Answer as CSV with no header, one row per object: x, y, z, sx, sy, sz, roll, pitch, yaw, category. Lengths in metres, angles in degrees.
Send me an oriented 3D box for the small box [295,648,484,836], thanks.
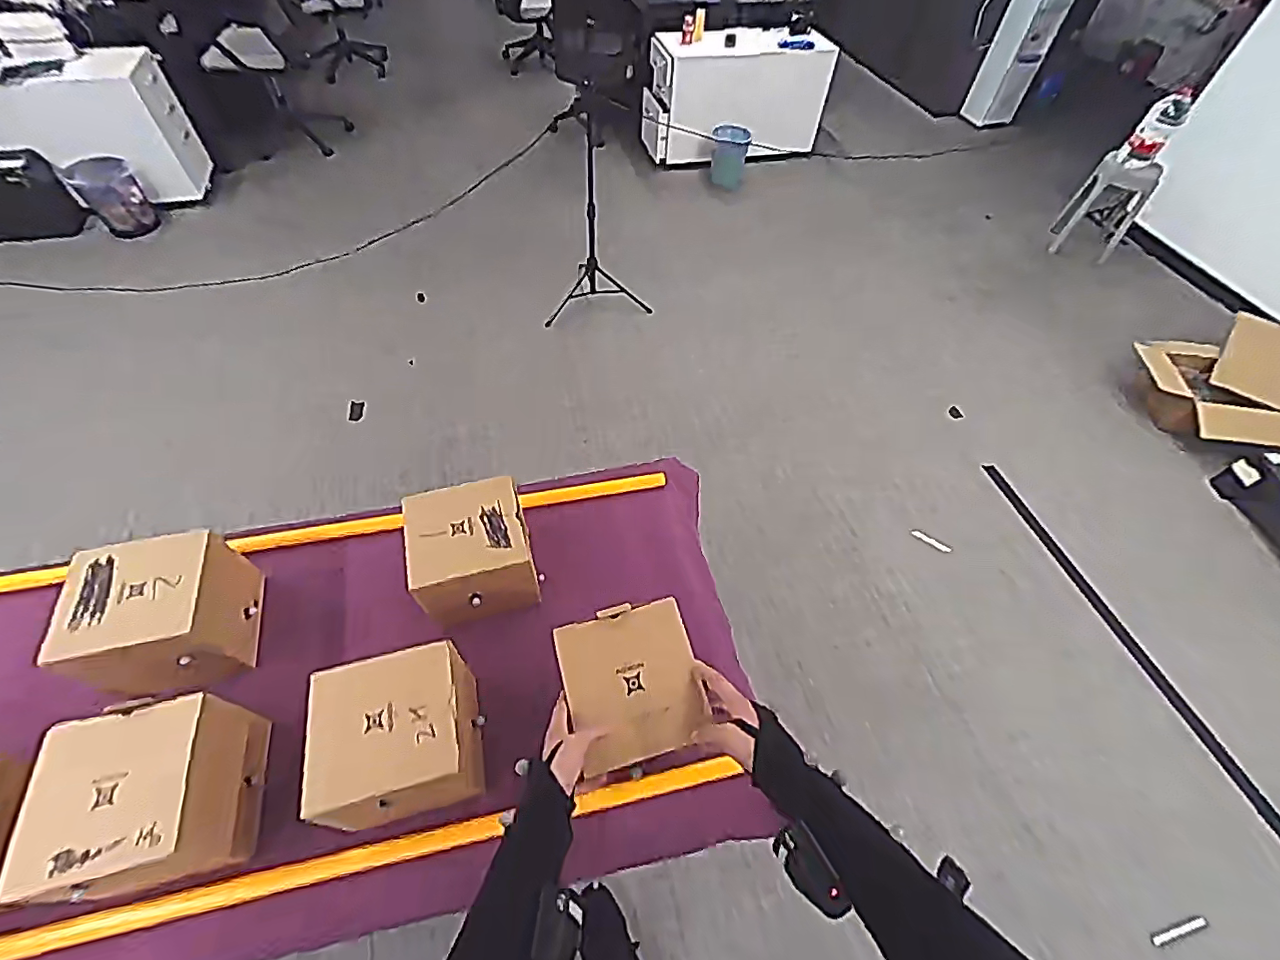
-0.318,0.350,0.717,0.179,0.176,0.168,-12,54,-12,small box

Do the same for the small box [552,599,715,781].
-0.016,0.285,0.724,0.168,0.176,0.179,-14,62,-10,small box

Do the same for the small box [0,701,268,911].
-0.595,0.401,0.666,0.168,0.176,0.179,-12,54,-9,small box

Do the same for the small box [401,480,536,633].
-0.272,0.128,0.883,0.179,0.176,0.168,-13,56,-11,small box
